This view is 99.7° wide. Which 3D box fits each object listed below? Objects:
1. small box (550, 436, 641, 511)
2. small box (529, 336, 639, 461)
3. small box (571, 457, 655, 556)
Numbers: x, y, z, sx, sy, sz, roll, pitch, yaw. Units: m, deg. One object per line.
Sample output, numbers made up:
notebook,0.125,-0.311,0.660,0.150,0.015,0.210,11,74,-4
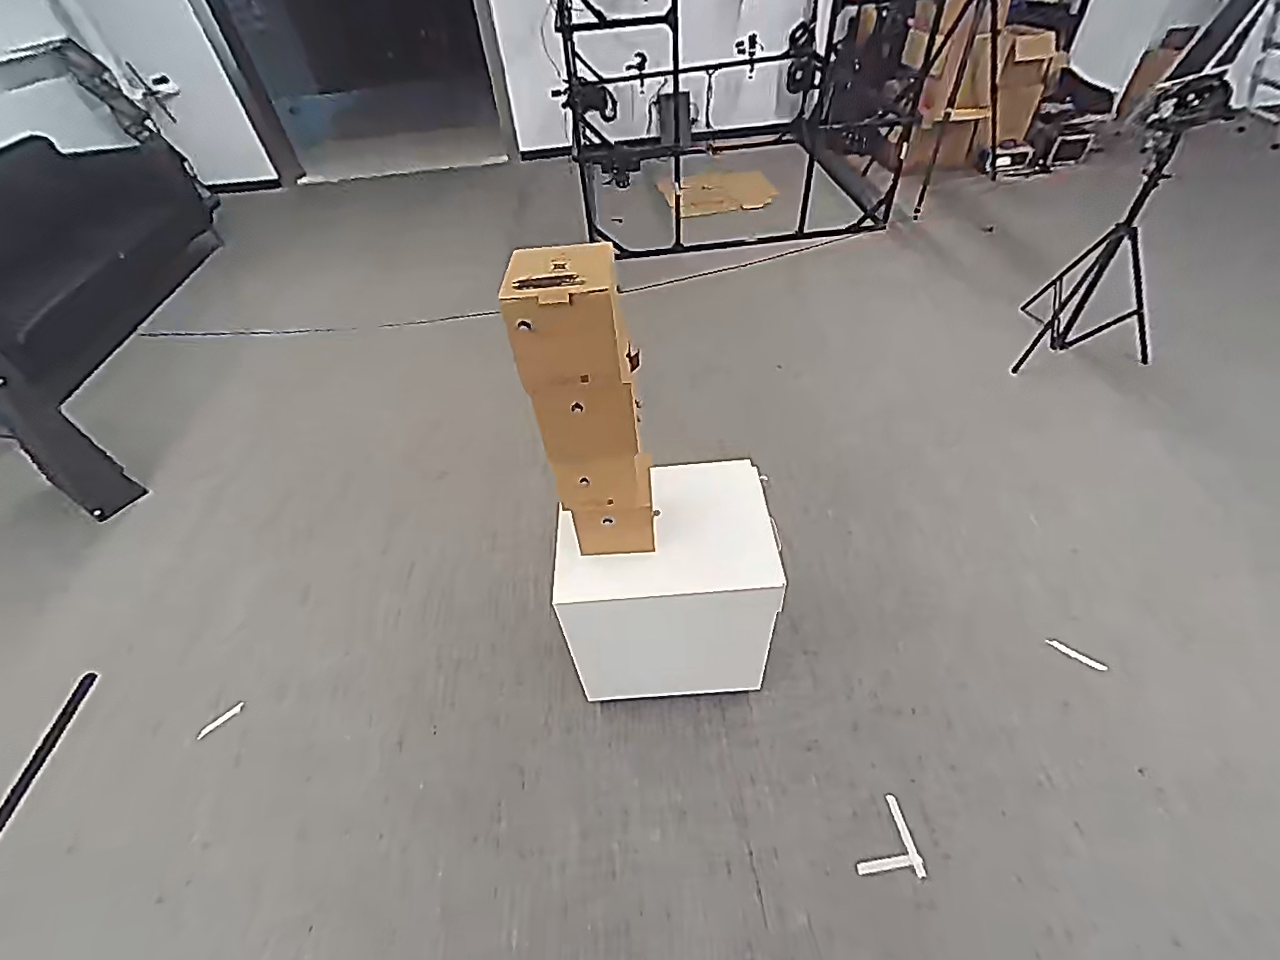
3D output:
small box,-0.085,-0.045,1.143,0.168,0.176,0.179,-2,46,3
small box,-0.096,-0.149,1.015,0.179,0.176,0.168,-4,47,1
small box,-0.057,0.065,1.260,0.179,0.176,0.168,-3,47,1
